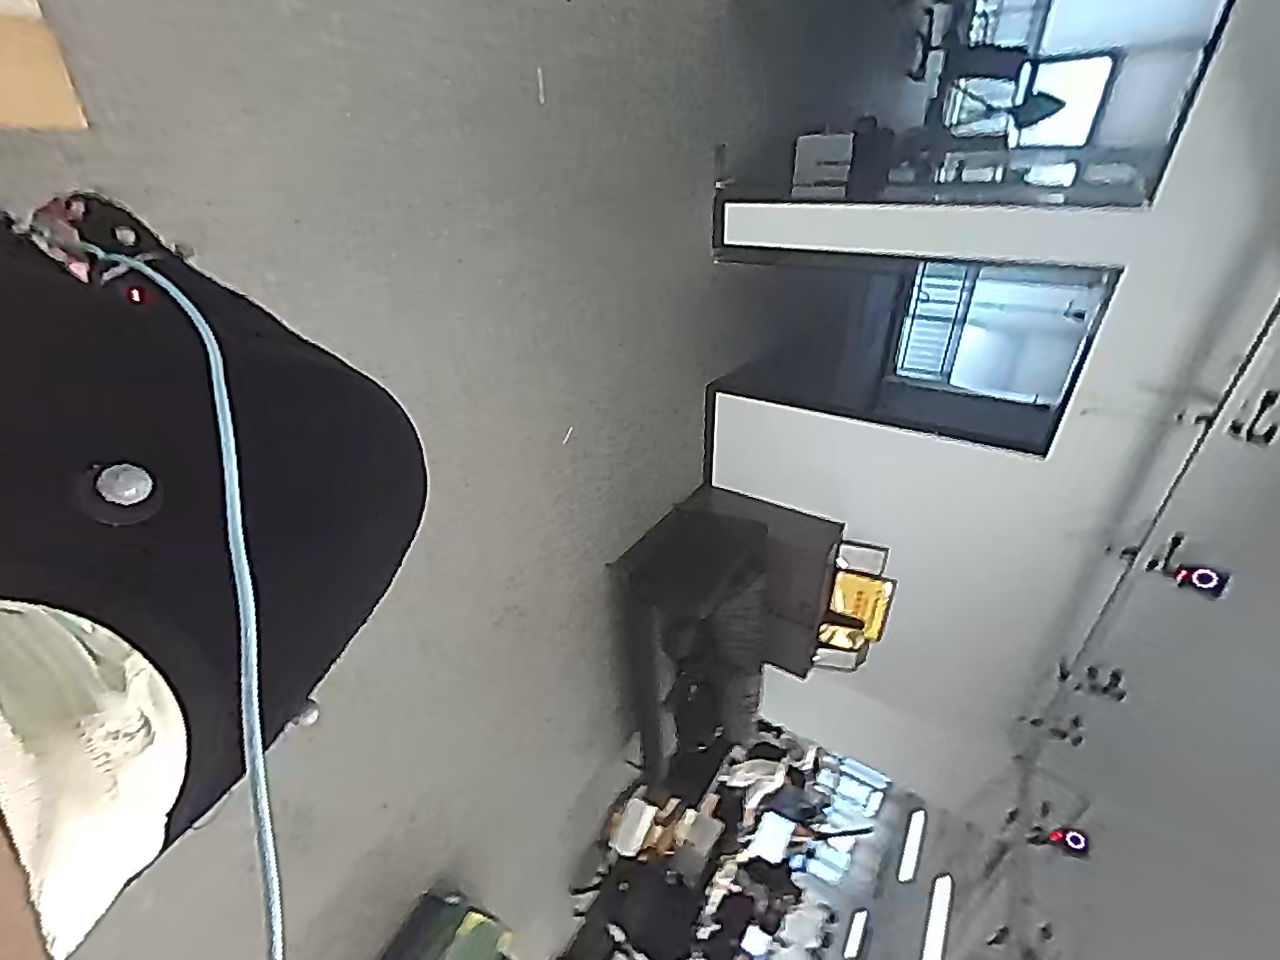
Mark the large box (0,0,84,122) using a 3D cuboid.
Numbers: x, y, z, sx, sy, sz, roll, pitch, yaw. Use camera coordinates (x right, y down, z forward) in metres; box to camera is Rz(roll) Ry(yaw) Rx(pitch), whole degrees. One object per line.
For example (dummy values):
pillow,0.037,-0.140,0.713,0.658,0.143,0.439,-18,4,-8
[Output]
large box,-1.154,-0.701,0.752,0.408,0.320,0.320,-36,137,-48
